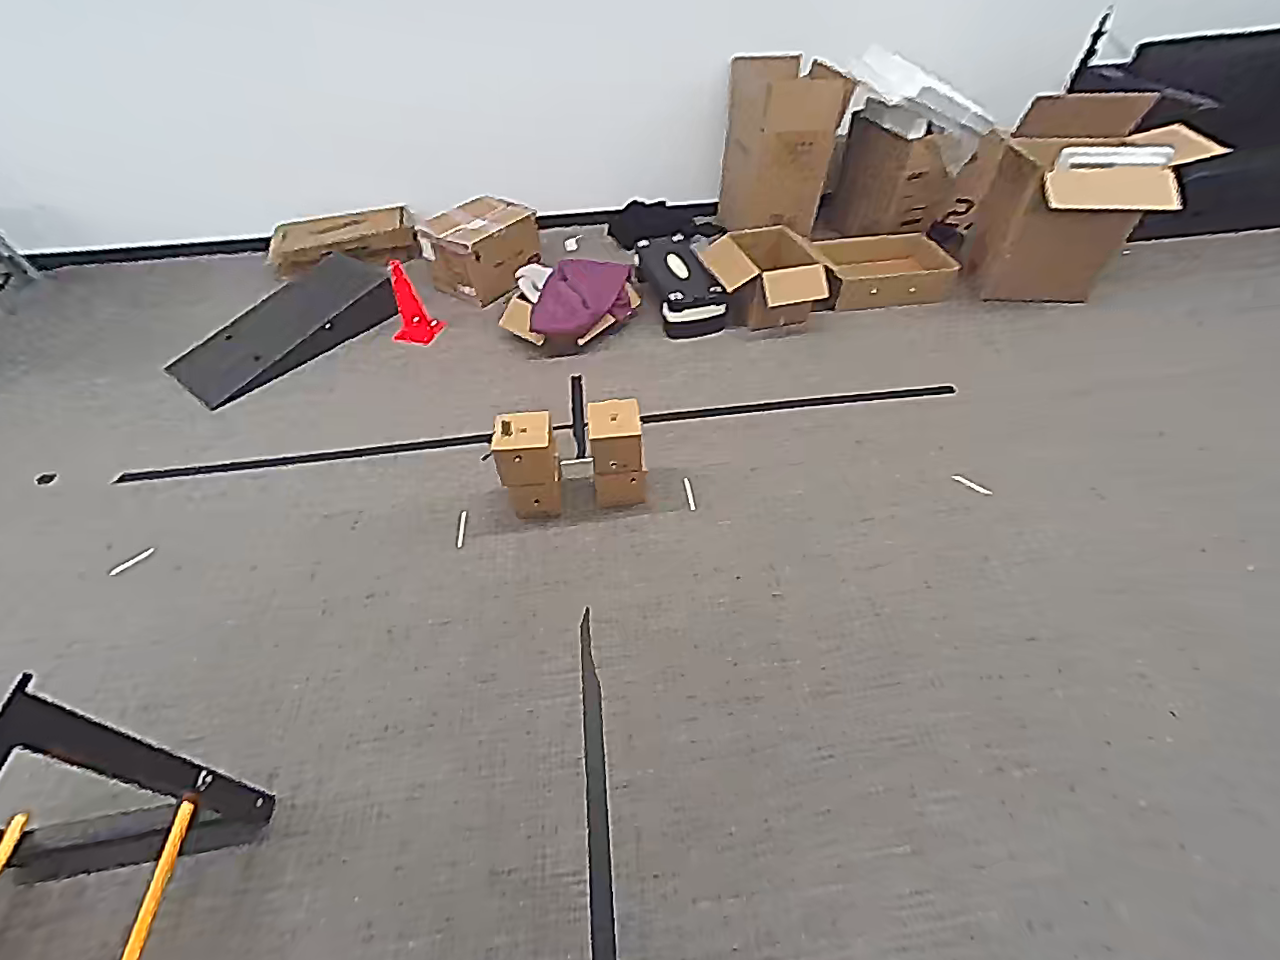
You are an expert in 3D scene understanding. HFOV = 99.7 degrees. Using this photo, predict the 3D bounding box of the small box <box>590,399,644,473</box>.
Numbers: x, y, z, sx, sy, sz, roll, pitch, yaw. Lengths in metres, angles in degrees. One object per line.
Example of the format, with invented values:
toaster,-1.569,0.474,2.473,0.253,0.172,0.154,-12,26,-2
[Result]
small box,-0.077,-0.145,1.794,0.168,0.176,0.179,-6,50,-3

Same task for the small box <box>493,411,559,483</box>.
small box,-0.365,-0.103,1.758,0.179,0.176,0.168,-4,48,-1

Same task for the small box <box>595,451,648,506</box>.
small box,-0.068,-0.029,1.908,0.179,0.176,0.168,-7,48,-5

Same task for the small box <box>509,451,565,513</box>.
small box,-0.353,0.004,1.885,0.168,0.176,0.179,-5,49,-2
